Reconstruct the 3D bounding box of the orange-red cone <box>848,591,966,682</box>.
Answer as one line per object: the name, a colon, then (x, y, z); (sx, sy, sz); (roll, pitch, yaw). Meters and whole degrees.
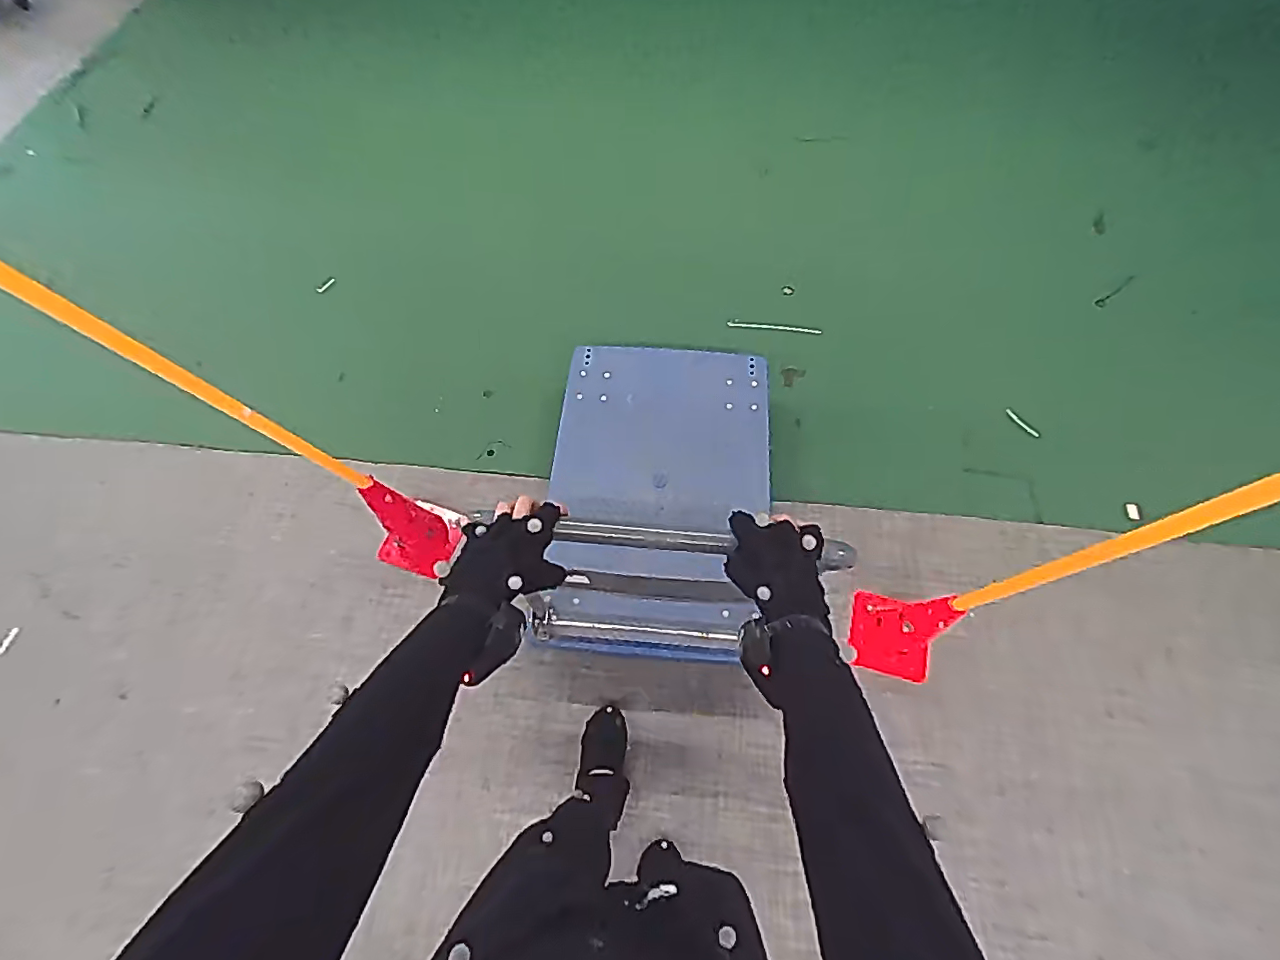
orange-red cone: (0.645, 0.327, 1.247); (0.198, 0.360, 0.199); (15, 66, 9)
